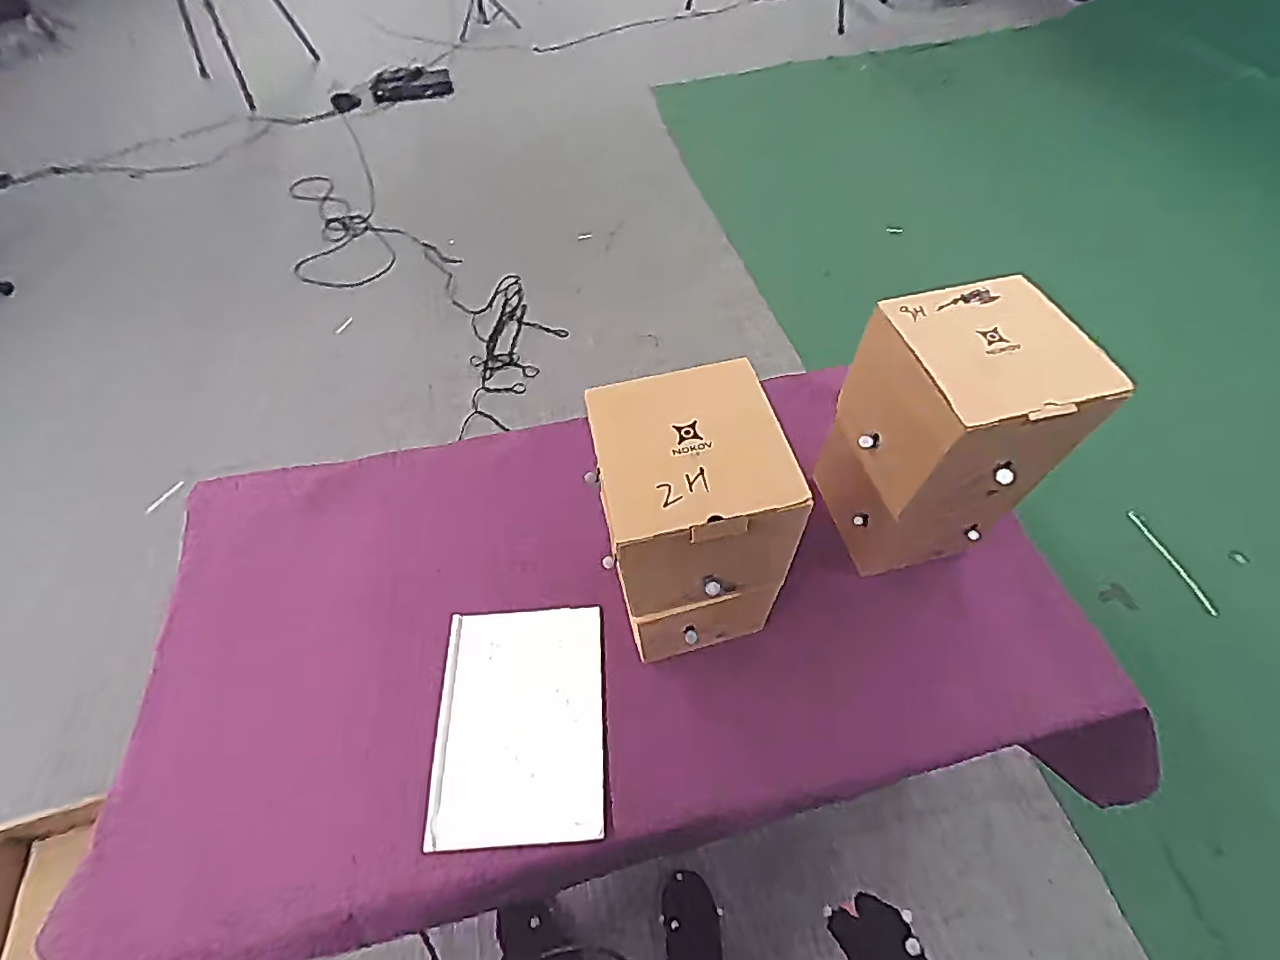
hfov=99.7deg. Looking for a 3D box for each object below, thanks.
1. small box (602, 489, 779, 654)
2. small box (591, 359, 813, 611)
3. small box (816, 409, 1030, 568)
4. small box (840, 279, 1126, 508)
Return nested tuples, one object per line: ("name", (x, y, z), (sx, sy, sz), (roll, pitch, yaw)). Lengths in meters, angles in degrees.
("small box", (0.058, 0.105, 0.682), (0.168, 0.176, 0.179), (-14, 56, -5))
("small box", (0.051, 0.009, 0.548), (0.168, 0.176, 0.179), (-12, 56, -3))
("small box", (0.359, 0.004, 0.727), (0.168, 0.176, 0.179), (-11, 57, -4))
("small box", (0.345, -0.084, 0.589), (0.168, 0.176, 0.179), (-11, 58, -5))
